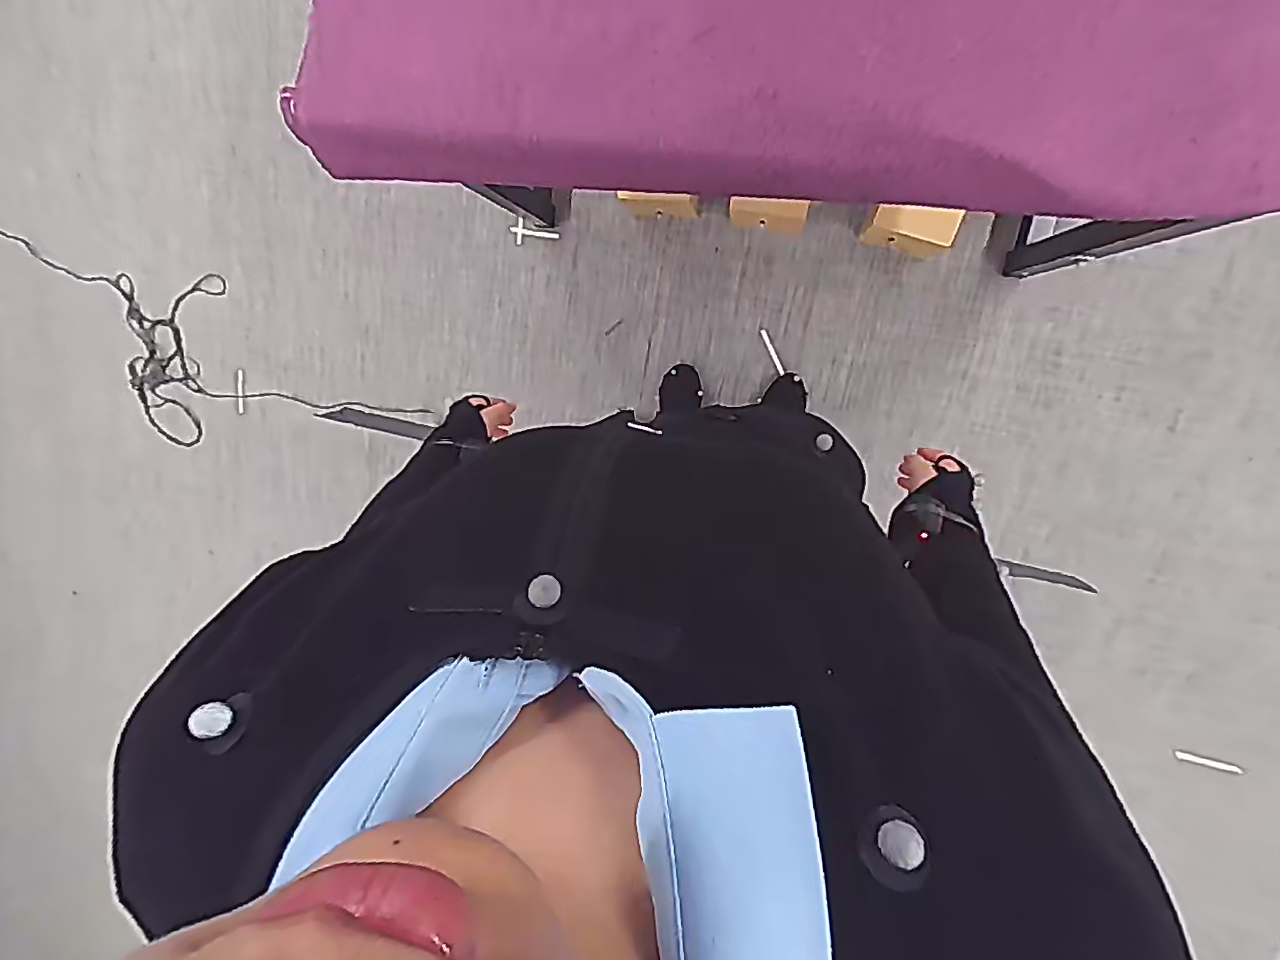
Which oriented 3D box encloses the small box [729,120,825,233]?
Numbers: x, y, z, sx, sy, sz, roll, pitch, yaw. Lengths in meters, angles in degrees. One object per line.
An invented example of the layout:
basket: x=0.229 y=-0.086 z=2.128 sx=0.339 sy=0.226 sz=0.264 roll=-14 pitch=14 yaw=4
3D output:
small box: x=0.302 y=-0.672 z=1.217 sx=0.168 sy=0.176 sz=0.179 roll=13 pitch=105 yaw=7

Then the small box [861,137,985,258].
small box: x=0.600 y=-0.602 z=1.178 sx=0.168 sy=0.176 sz=0.179 roll=20 pitch=106 yaw=6
